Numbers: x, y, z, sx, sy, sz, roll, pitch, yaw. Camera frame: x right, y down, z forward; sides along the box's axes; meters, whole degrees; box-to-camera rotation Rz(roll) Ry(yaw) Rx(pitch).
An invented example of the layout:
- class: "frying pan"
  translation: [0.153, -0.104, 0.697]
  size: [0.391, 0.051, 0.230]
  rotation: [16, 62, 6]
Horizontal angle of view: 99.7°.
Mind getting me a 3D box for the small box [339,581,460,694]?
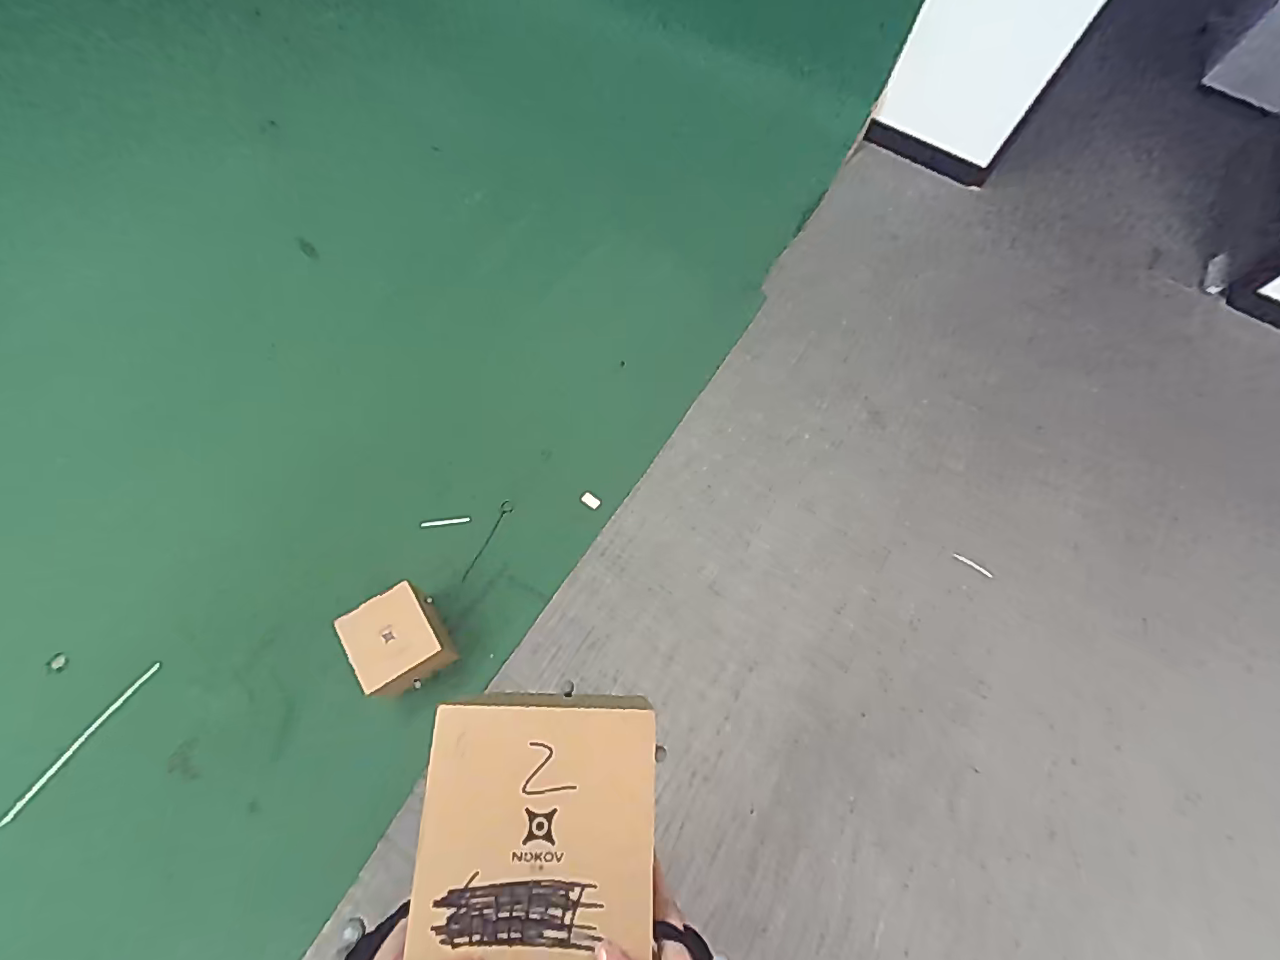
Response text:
- class: "small box"
  translation: [-0.526, 0.355, 1.201]
  size: [0.168, 0.176, 0.179]
  rotation: [-30, 72, -15]
